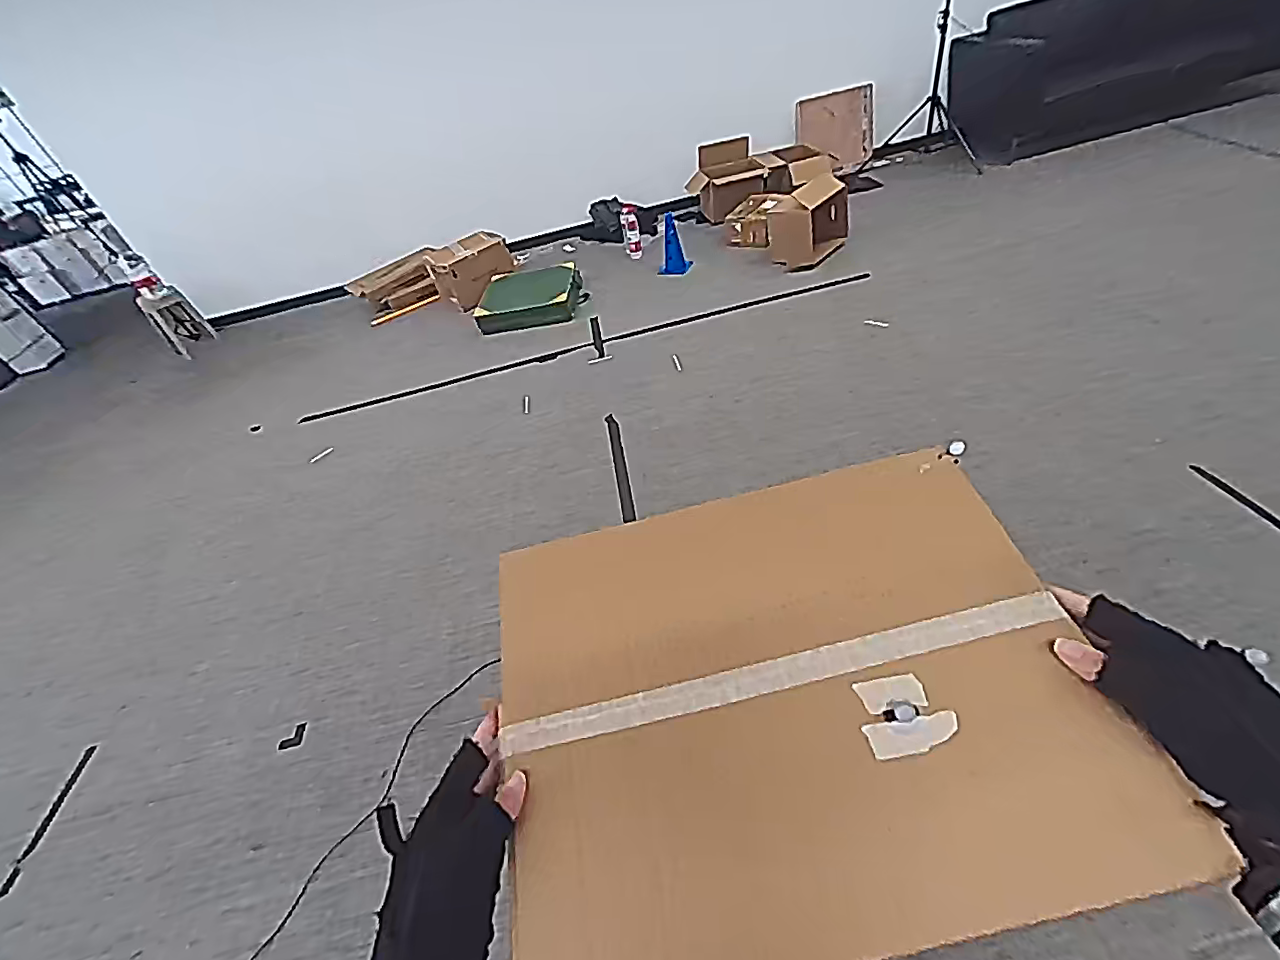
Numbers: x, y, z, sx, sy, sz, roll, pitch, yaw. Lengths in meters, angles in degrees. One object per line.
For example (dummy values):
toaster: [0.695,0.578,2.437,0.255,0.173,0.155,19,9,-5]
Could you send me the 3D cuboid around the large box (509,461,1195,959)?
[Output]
large box: [0.122,0.236,0.517,0.408,0.320,0.320,-14,53,0]
